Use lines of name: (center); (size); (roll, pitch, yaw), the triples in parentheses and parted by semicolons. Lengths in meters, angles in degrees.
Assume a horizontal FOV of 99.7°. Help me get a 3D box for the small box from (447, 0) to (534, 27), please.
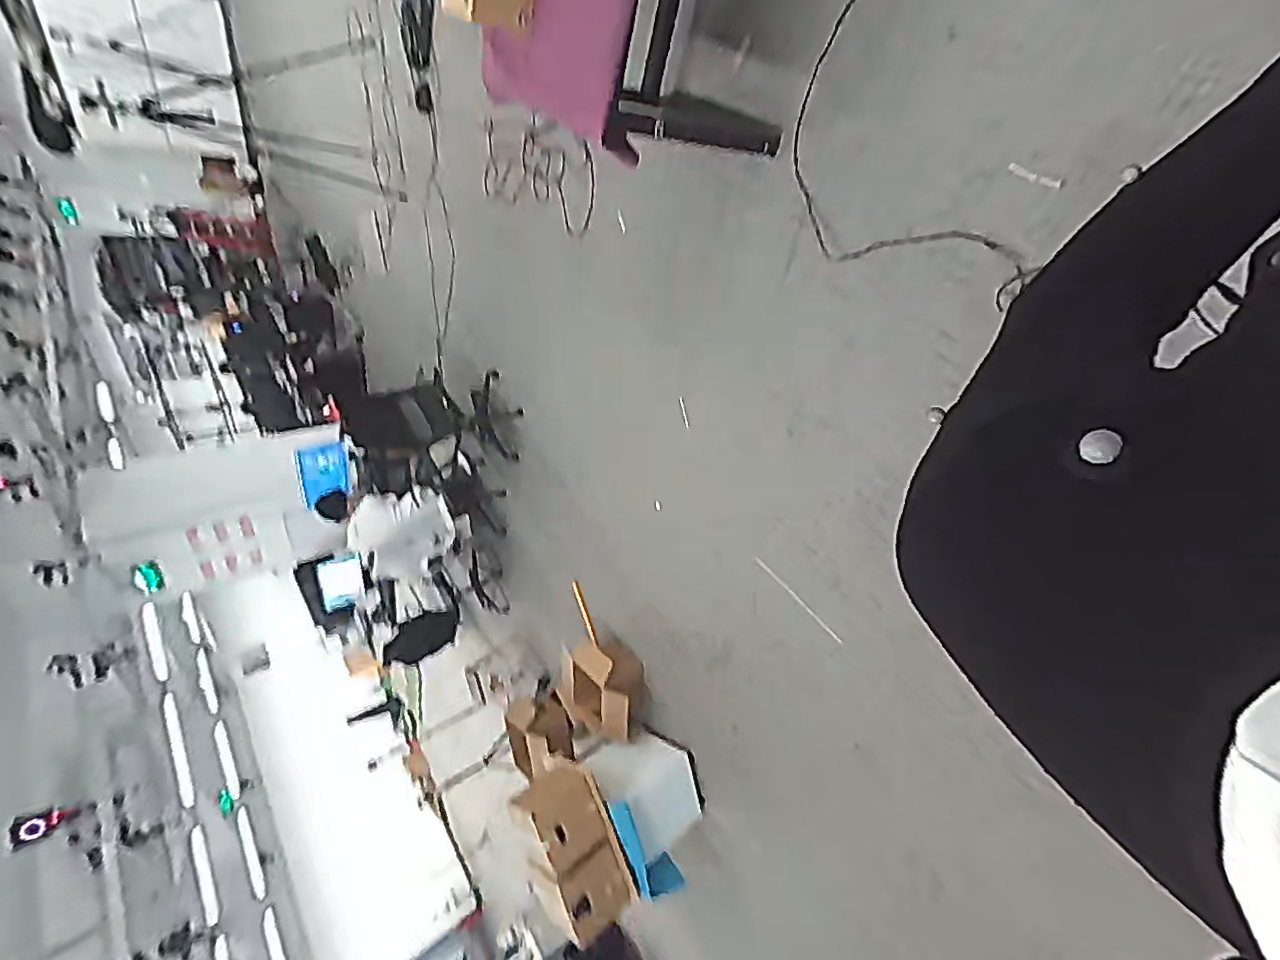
small box: (-0.371, -1.271, 1.356); (0.179, 0.176, 0.168); (47, 137, 30)
